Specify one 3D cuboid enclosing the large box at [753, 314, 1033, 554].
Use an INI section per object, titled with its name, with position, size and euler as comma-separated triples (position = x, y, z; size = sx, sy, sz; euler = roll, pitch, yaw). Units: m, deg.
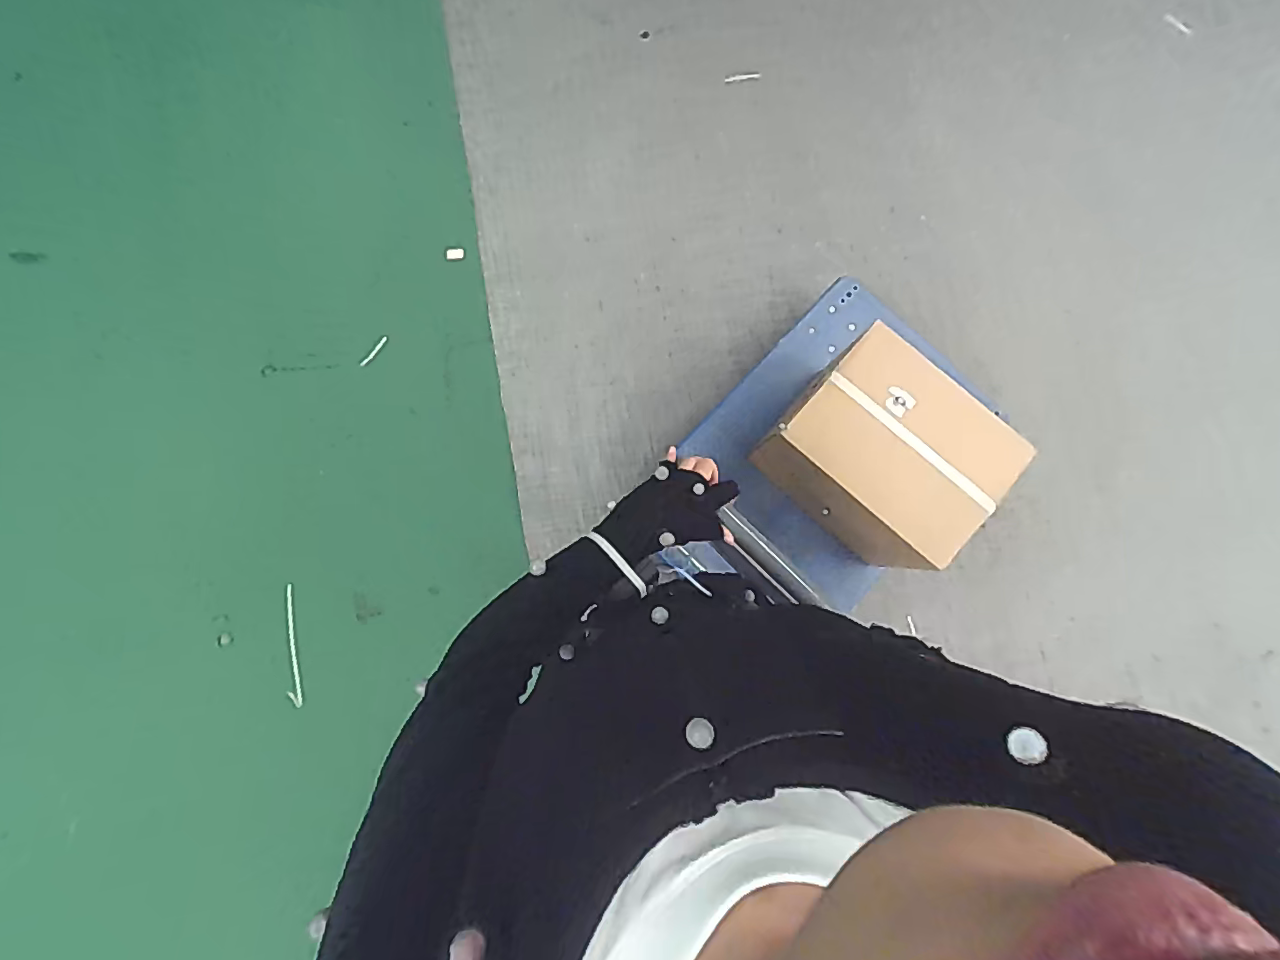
[large box]
position = 0.524, -0.079, 1.204
size = 0.408, 0.320, 0.320
euler = 41, 85, 5
